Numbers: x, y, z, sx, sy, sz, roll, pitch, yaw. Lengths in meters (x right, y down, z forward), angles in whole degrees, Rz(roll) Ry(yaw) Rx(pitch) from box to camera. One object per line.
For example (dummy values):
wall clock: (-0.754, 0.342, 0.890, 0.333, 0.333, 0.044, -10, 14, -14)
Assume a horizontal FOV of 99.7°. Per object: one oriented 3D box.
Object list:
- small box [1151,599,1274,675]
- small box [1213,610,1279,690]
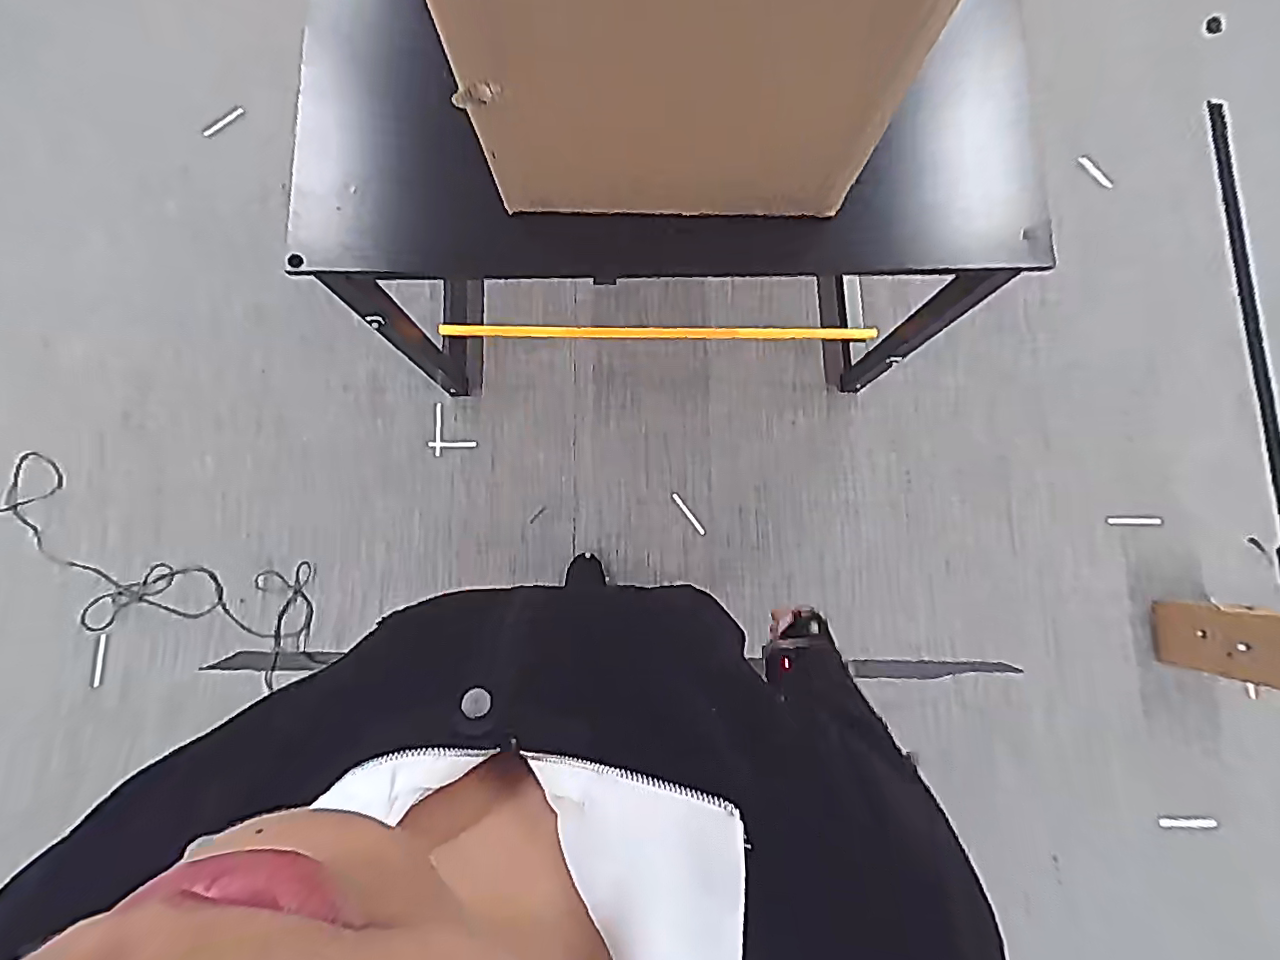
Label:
small box: (1.505, 0.413, 1.426, 0.168, 0.176, 0.179, 4, 83, 0)
small box: (1.512, 0.399, 1.262, 0.179, 0.176, 0.168, 3, 82, 0)
